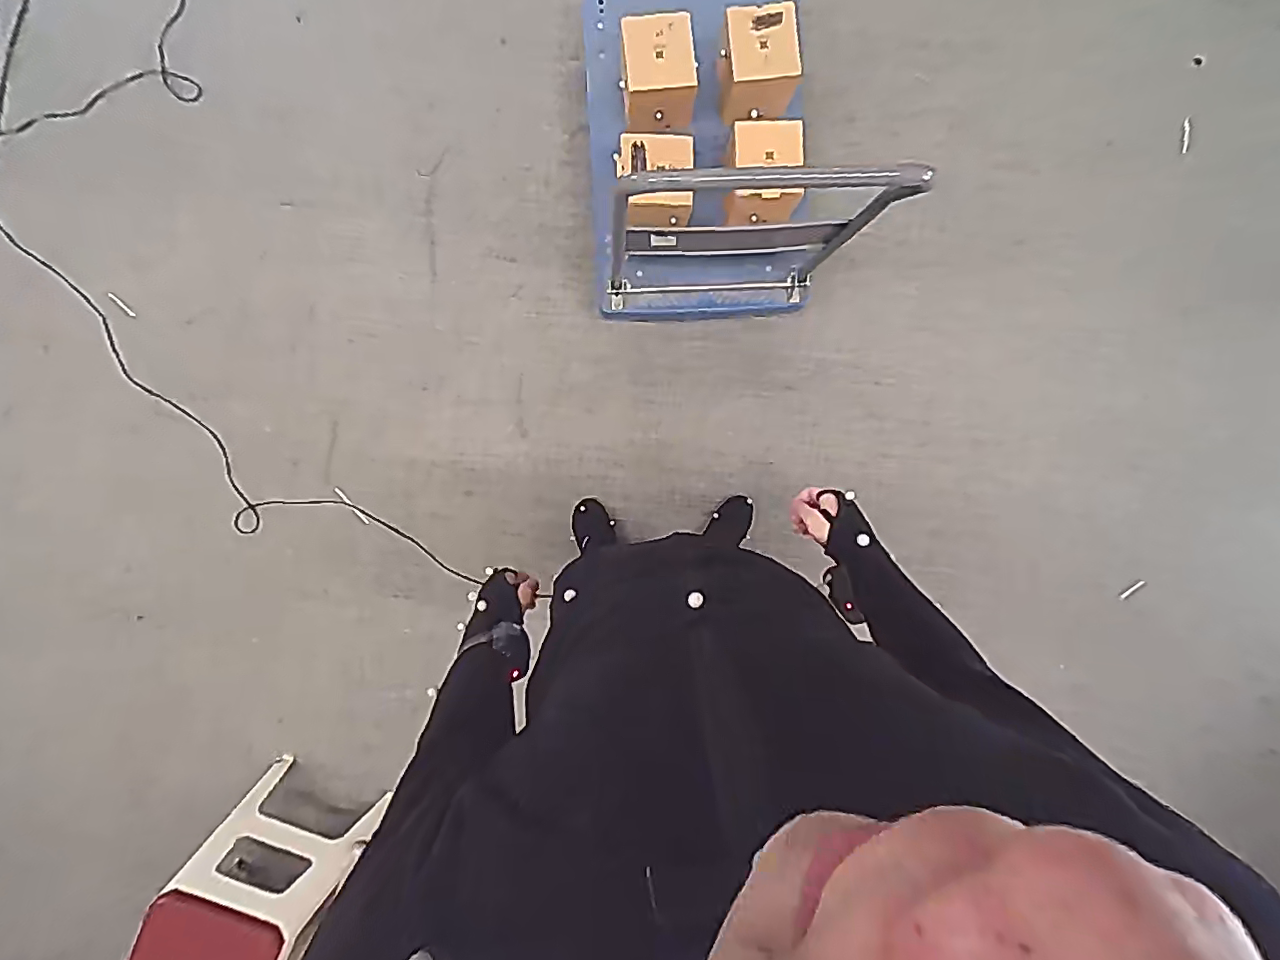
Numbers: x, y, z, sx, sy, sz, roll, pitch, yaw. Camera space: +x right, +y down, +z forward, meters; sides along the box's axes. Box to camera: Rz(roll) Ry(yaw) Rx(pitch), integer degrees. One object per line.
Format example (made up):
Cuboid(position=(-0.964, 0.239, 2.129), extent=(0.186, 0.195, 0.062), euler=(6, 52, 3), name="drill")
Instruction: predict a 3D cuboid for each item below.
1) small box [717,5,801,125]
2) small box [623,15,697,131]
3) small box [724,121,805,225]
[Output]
Cuboid(position=(0.297, -1.049, 1.376), extent=(0.168, 0.176, 0.179), euler=(-6, 92, -1), name="small box")
Cuboid(position=(0.047, -1.017, 1.370), extent=(0.168, 0.176, 0.179), euler=(-7, 91, -2), name="small box")
Cuboid(position=(0.312, -0.779, 1.383), extent=(0.168, 0.176, 0.179), euler=(-2, 91, -2), name="small box")
